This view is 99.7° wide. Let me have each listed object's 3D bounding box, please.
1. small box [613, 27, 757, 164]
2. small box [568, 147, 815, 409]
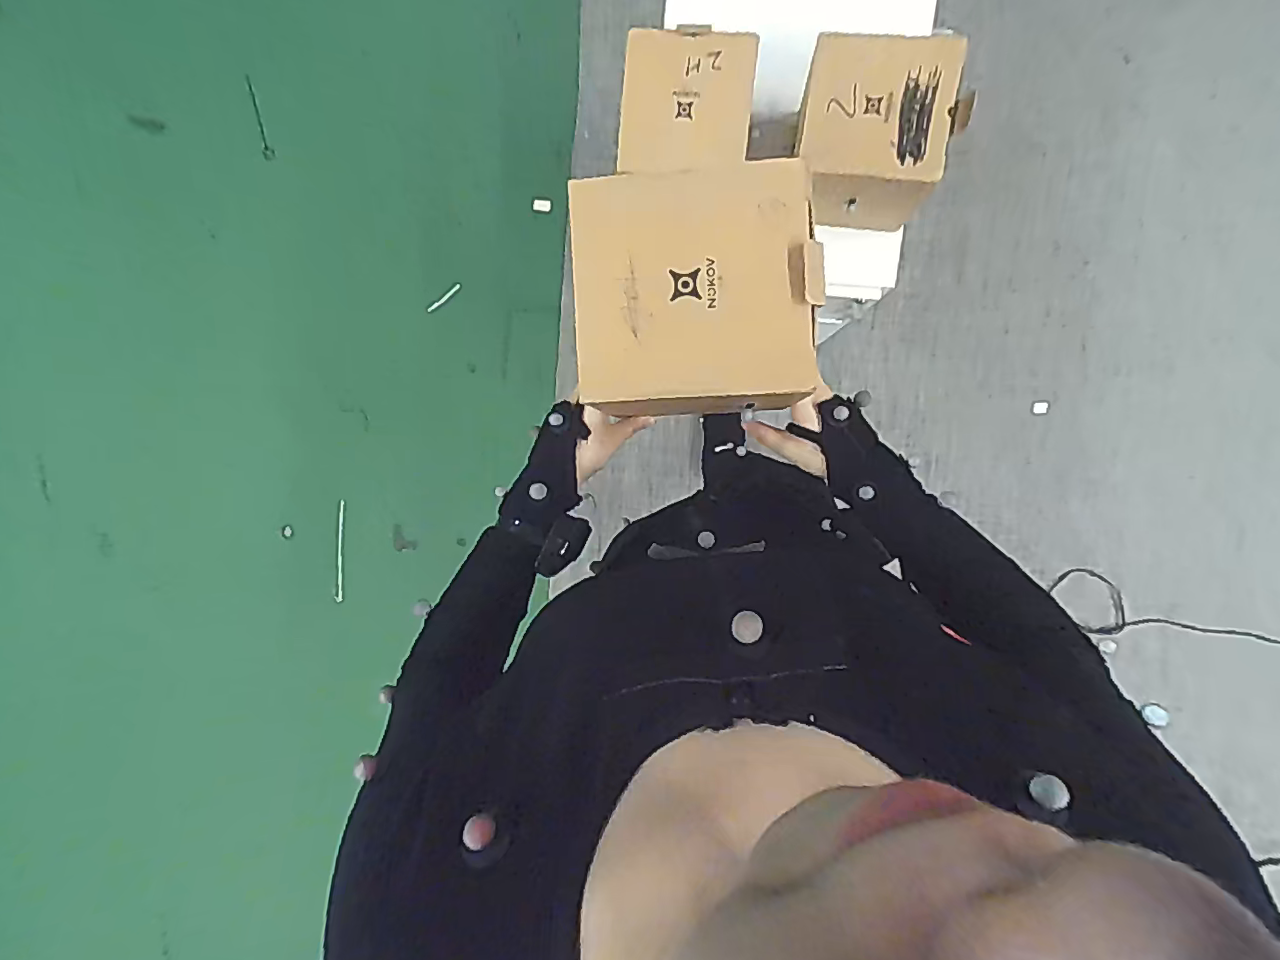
[{"bbox_3d":[0.063,-0.482,0.760,0.168,0.176,0.179,7,96,5],"label":"small box"},{"bbox_3d":[0.045,-0.152,0.468,0.179,0.176,0.168,-2,92,7],"label":"small box"}]
